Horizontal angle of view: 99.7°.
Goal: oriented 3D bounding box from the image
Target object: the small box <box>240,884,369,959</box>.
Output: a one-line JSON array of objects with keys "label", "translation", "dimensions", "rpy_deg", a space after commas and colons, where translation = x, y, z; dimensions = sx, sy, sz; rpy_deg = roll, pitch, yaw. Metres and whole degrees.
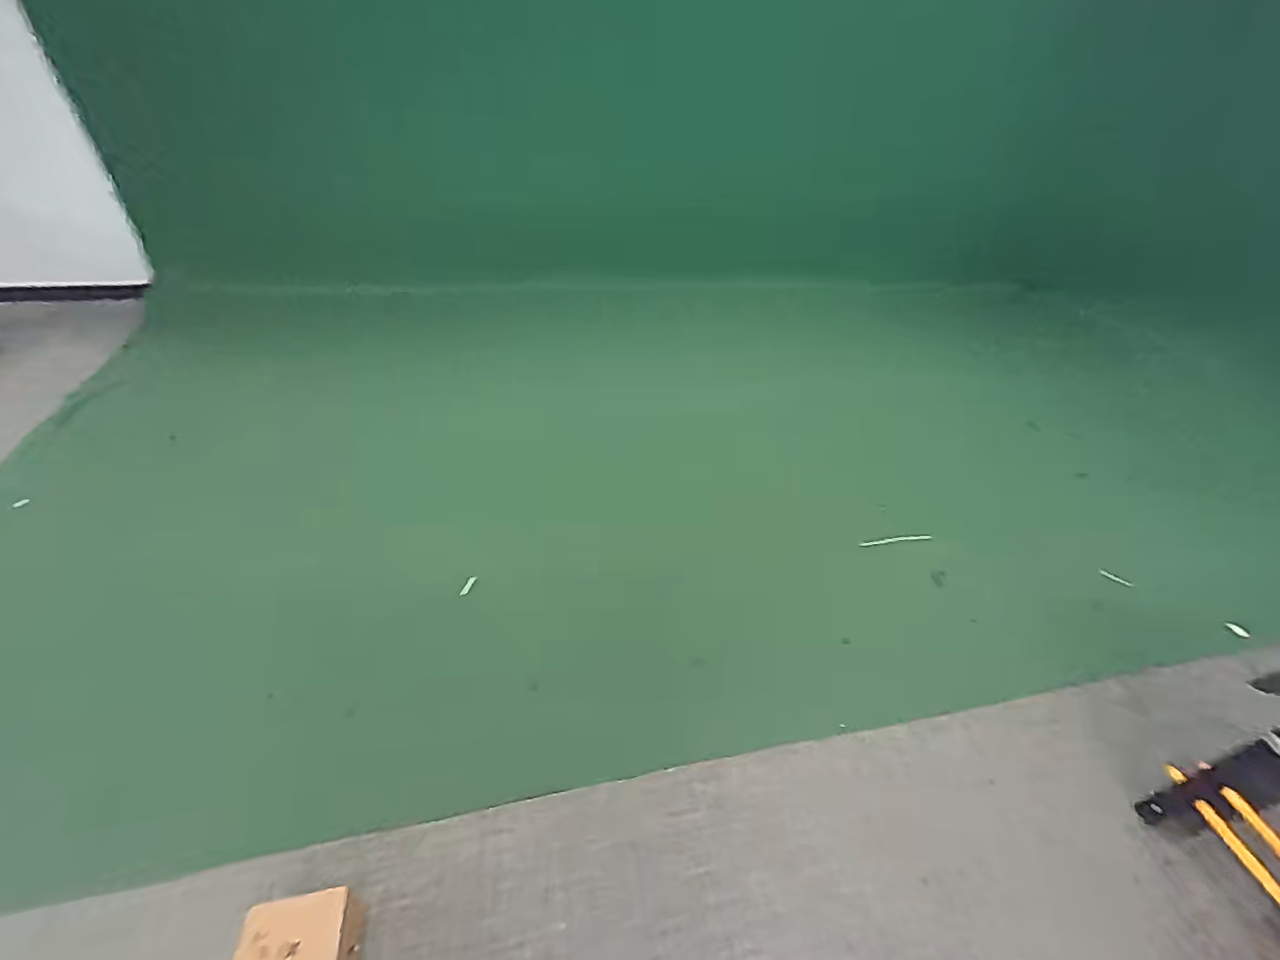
[{"label": "small box", "translation": [-0.640, 0.912, 1.039], "dimensions": [0.179, 0.176, 0.168], "rpy_deg": [-5, 42, -12]}]
